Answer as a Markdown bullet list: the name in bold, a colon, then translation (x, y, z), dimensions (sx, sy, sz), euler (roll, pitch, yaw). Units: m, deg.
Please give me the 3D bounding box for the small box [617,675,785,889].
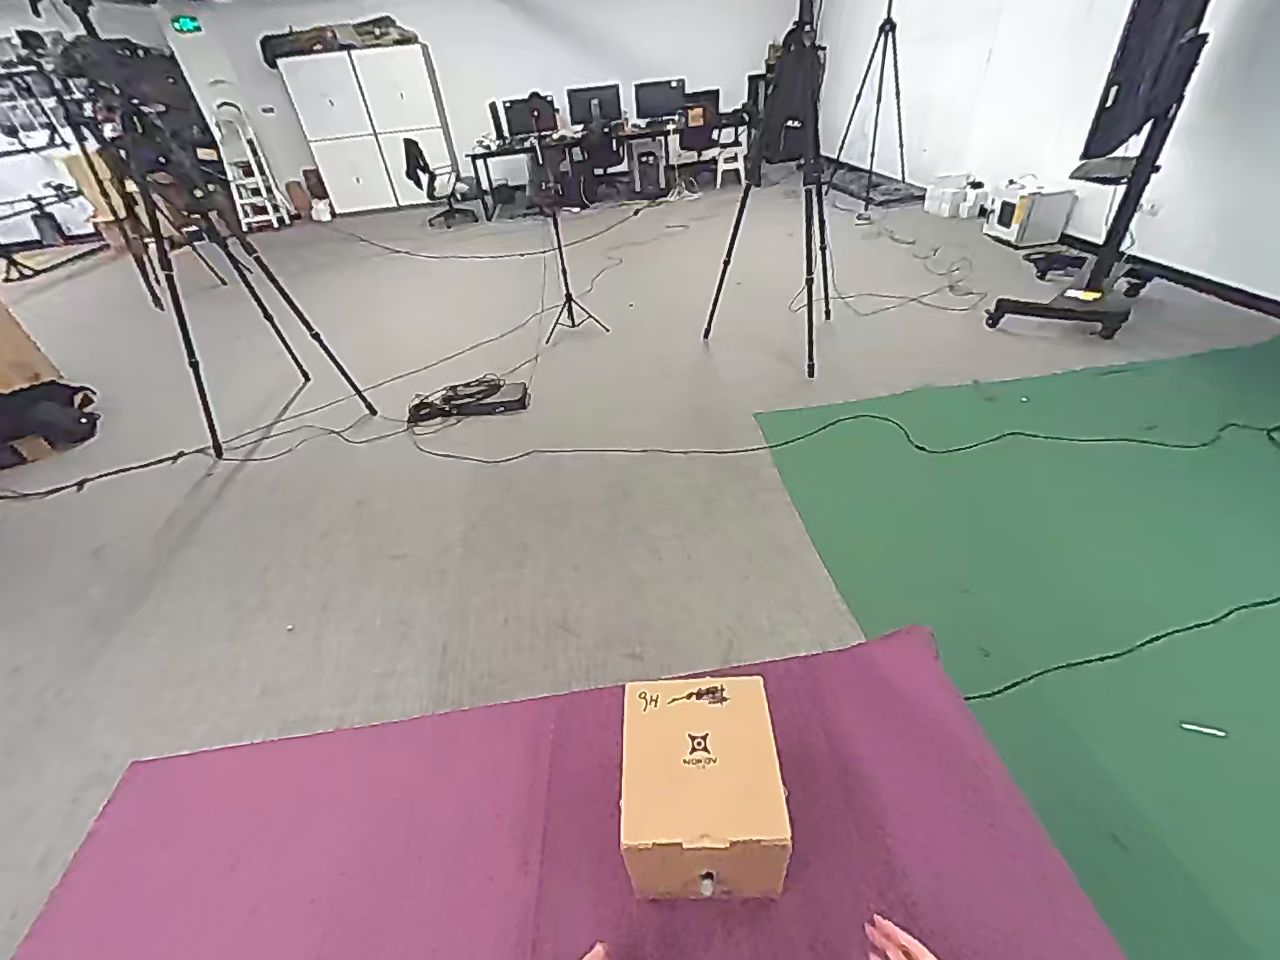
- **small box**: translation (0.069, 0.354, 0.630), dimensions (0.168, 0.176, 0.179), euler (-4, 39, 4)
